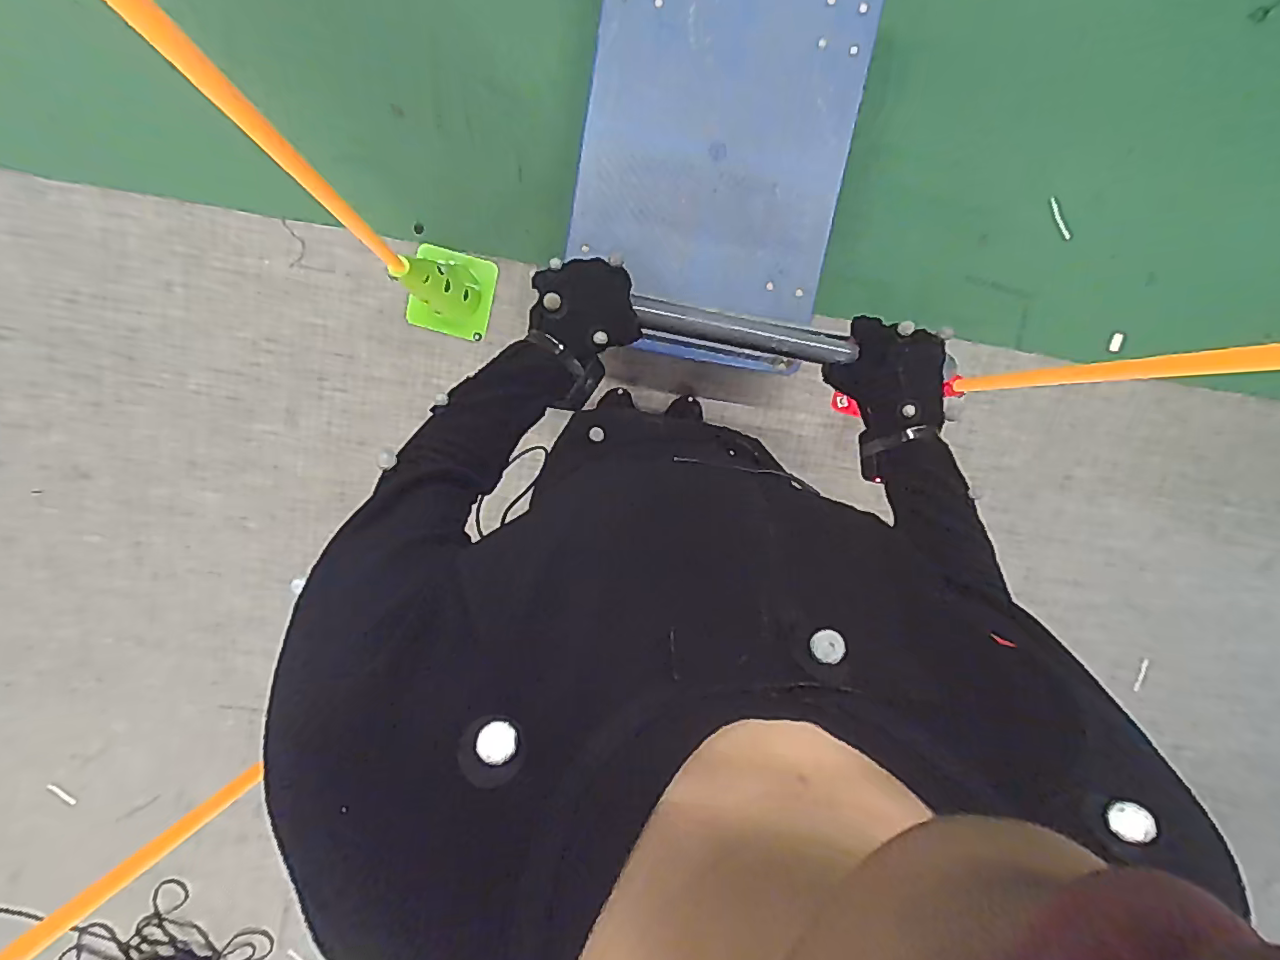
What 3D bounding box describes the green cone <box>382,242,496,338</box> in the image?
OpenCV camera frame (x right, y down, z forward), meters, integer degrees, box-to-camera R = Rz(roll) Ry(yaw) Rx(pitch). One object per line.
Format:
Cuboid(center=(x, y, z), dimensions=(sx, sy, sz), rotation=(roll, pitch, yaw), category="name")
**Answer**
Cuboid(center=(-0.468, -0.447, 1.191), dimensions=(0.202, 0.368, 0.200), rotation=(14, 99, -5), category="green cone")
